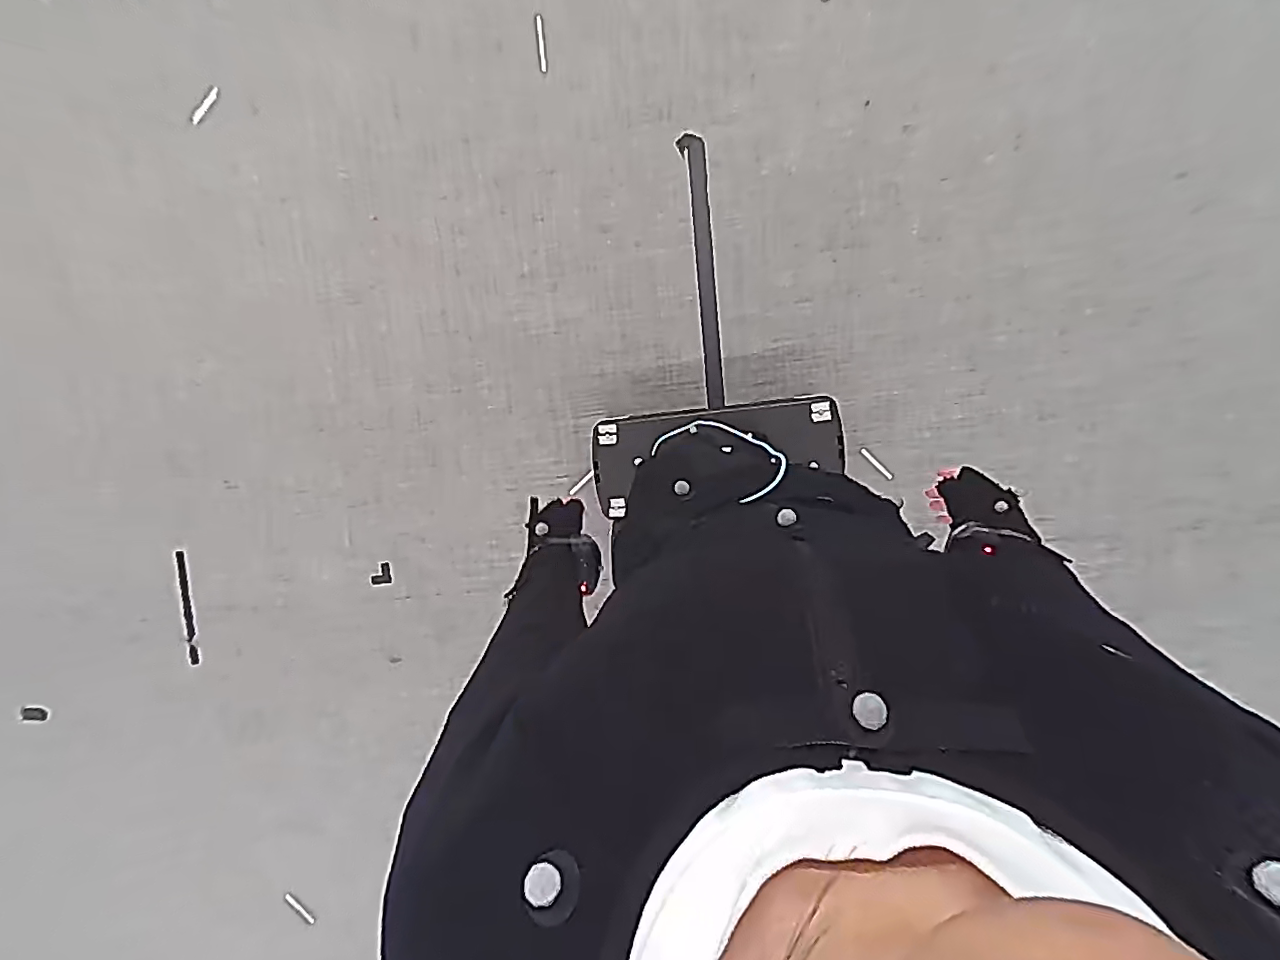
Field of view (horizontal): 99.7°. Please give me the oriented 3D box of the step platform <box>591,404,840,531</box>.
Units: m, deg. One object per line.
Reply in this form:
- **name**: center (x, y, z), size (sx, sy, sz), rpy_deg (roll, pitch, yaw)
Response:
- **step platform**: center (0.204, -0.034, 1.531), size (0.684, 0.204, 0.286), rpy_deg (-7, 95, 6)
